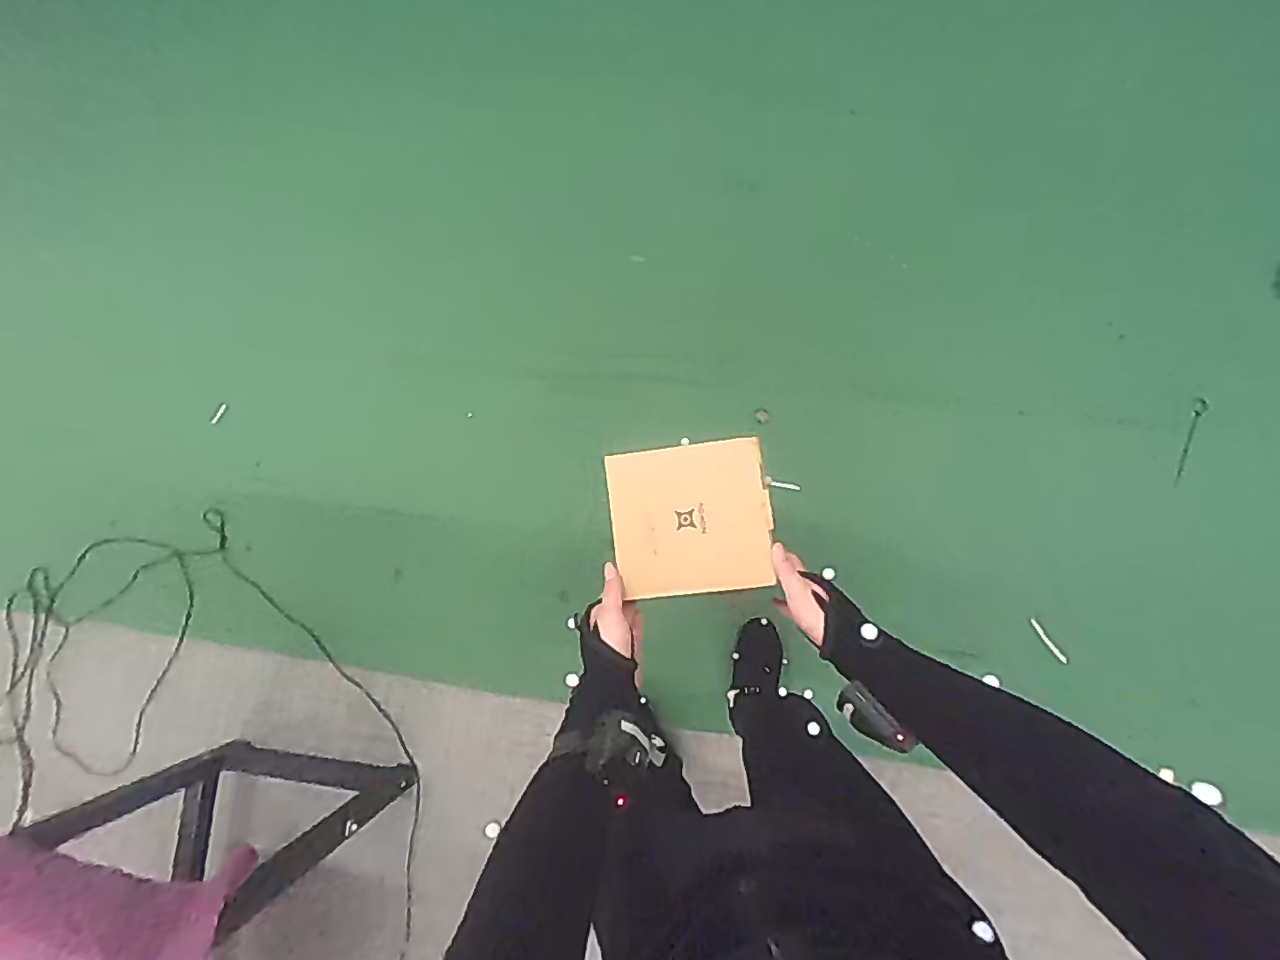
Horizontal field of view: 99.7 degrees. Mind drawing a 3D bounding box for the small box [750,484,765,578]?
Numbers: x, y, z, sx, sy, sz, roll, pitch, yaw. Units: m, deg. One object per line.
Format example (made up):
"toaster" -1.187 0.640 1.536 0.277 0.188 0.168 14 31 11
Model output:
"small box" 0.143 0.094 1.028 0.179 0.176 0.168 2 84 9
